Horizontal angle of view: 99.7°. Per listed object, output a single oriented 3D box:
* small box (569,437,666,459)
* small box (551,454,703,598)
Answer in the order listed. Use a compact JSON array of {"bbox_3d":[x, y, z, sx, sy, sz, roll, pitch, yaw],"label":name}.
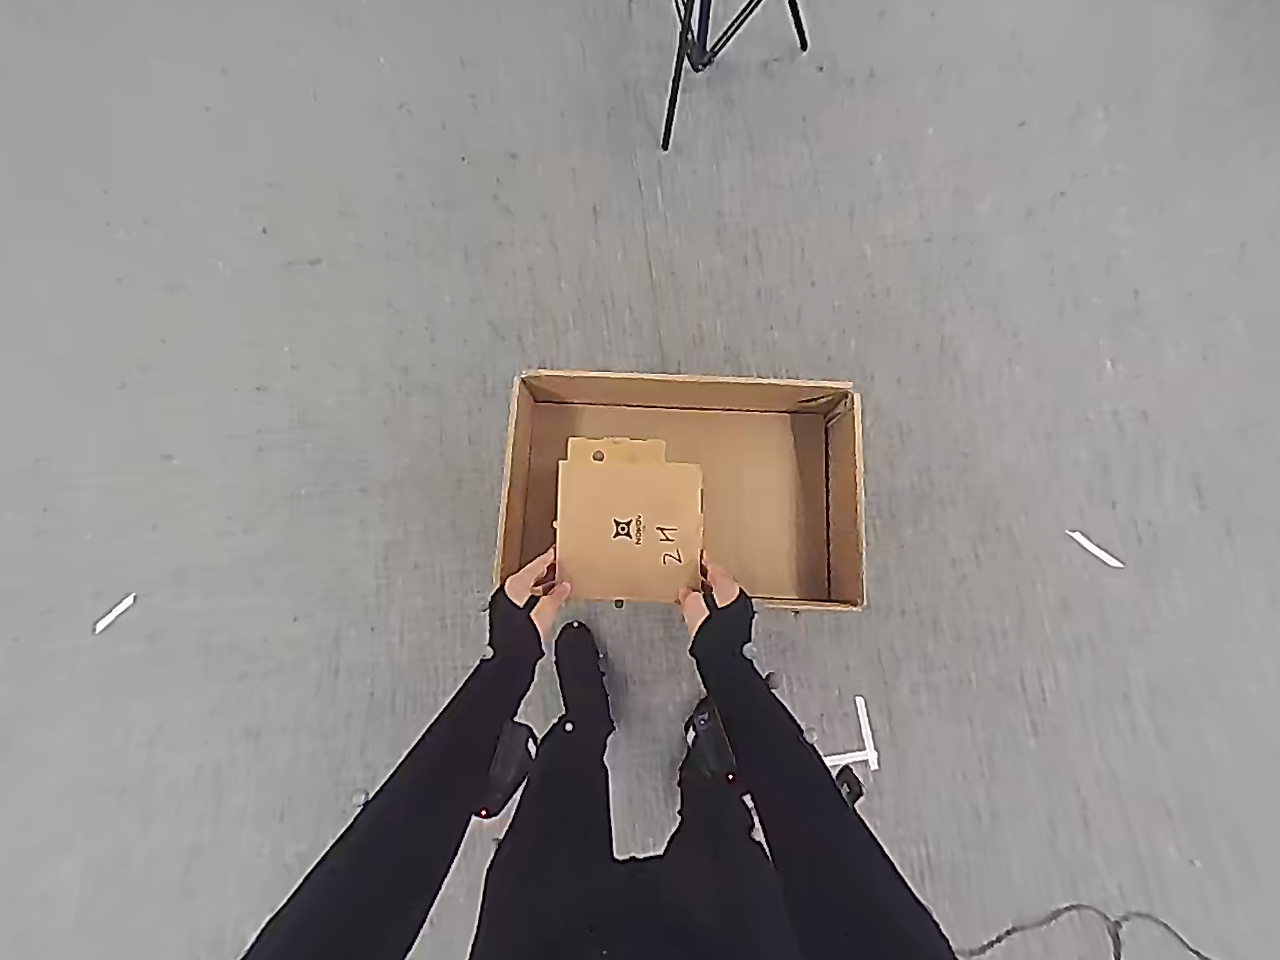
[{"bbox_3d":[-0.038,0.030,0.965,0.168,0.176,0.179,1,78,1],"label":"small box"},{"bbox_3d":[-0.015,0.062,0.718,0.179,0.176,0.168,2,85,-1],"label":"small box"}]
